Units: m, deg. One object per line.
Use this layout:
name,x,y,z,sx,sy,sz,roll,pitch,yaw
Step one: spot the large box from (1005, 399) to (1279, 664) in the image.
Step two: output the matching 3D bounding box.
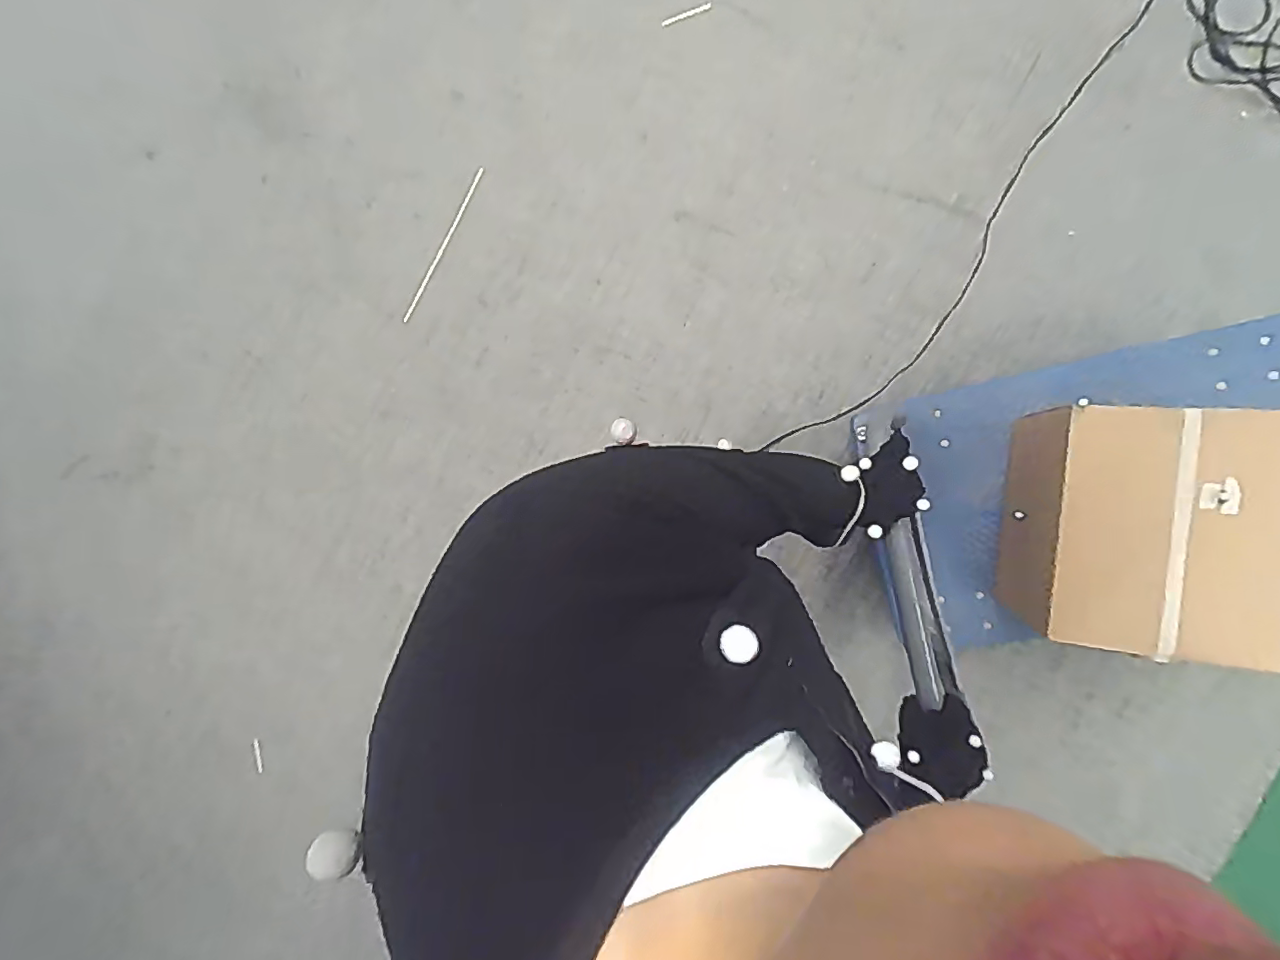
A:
large box,0.903,0.071,0.997,0.320,0.320,0.408,5,93,19
